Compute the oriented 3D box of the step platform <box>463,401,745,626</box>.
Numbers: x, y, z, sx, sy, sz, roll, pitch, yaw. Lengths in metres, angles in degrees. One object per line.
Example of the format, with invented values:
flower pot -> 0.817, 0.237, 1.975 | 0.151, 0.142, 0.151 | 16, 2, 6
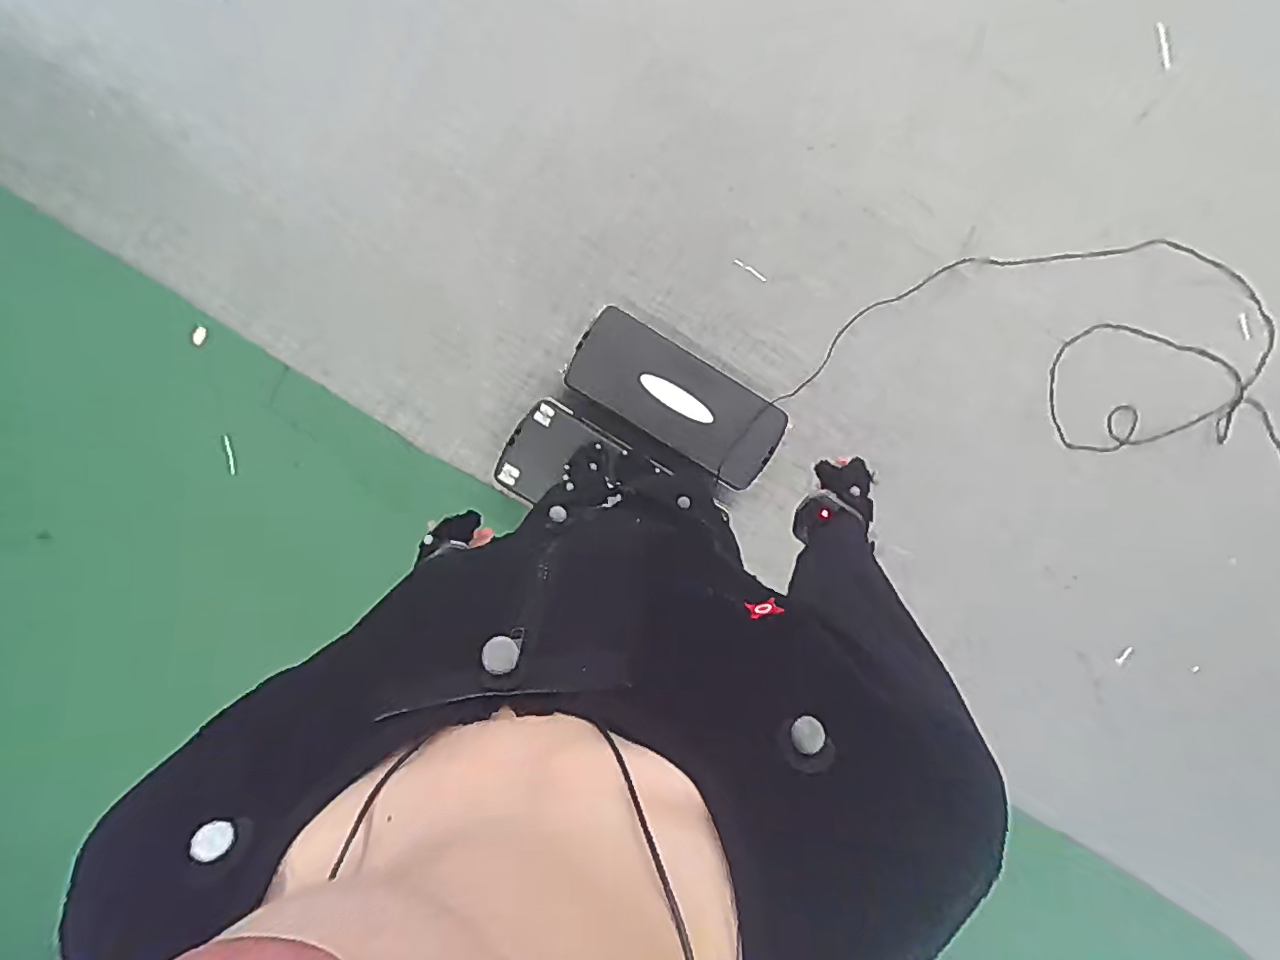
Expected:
step platform -> -0.086, 0.080, 1.392 | 0.684, 0.204, 0.286 | 31, 93, -4
